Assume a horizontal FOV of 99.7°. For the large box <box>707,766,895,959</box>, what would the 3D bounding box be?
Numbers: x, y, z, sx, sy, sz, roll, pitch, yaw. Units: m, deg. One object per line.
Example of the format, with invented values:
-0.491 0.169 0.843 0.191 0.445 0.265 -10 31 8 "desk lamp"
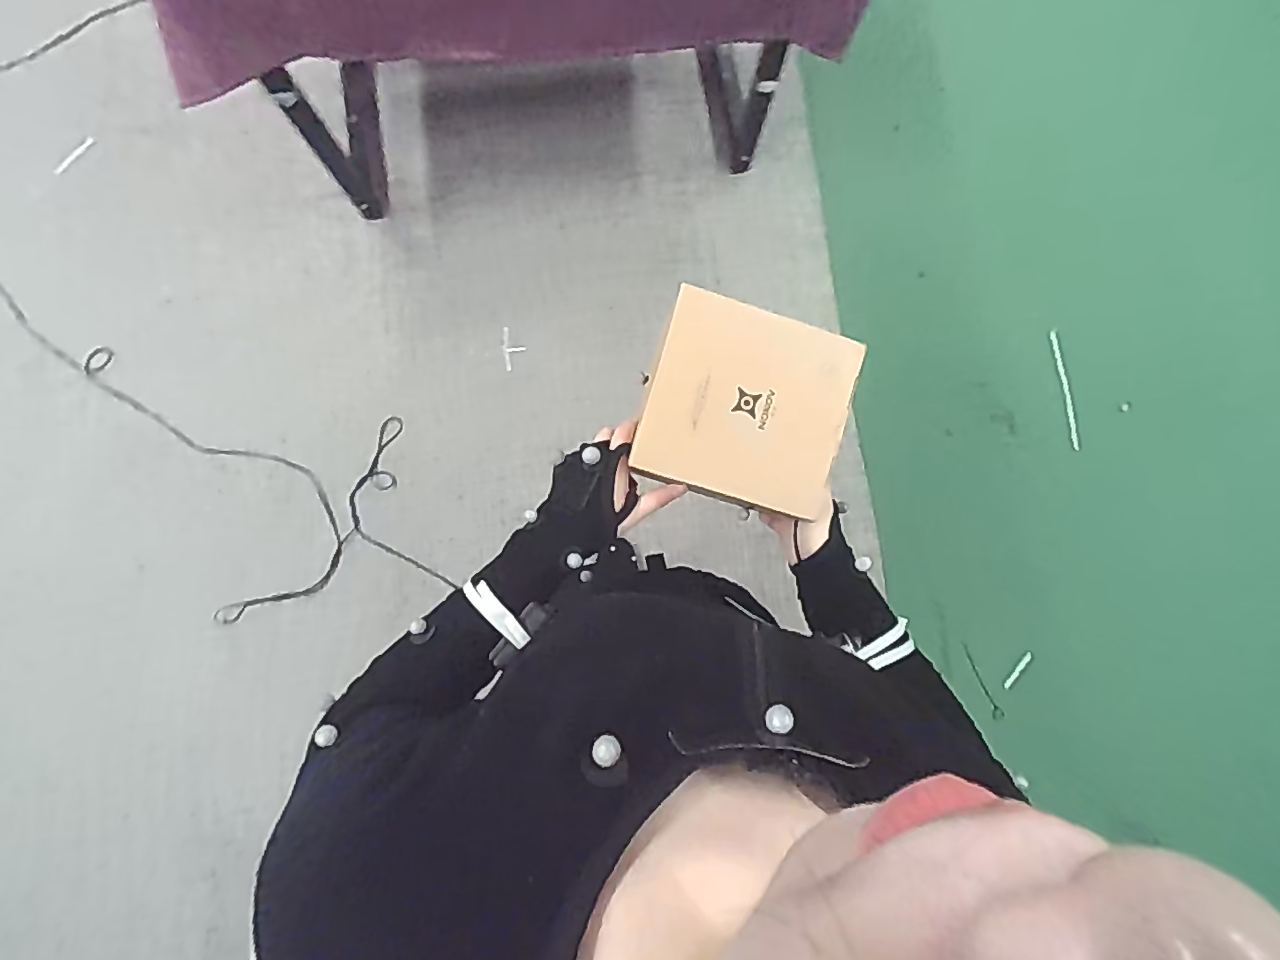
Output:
0.361 0.964 1.274 0.320 0.320 0.408 -7 84 -4 "large box"
